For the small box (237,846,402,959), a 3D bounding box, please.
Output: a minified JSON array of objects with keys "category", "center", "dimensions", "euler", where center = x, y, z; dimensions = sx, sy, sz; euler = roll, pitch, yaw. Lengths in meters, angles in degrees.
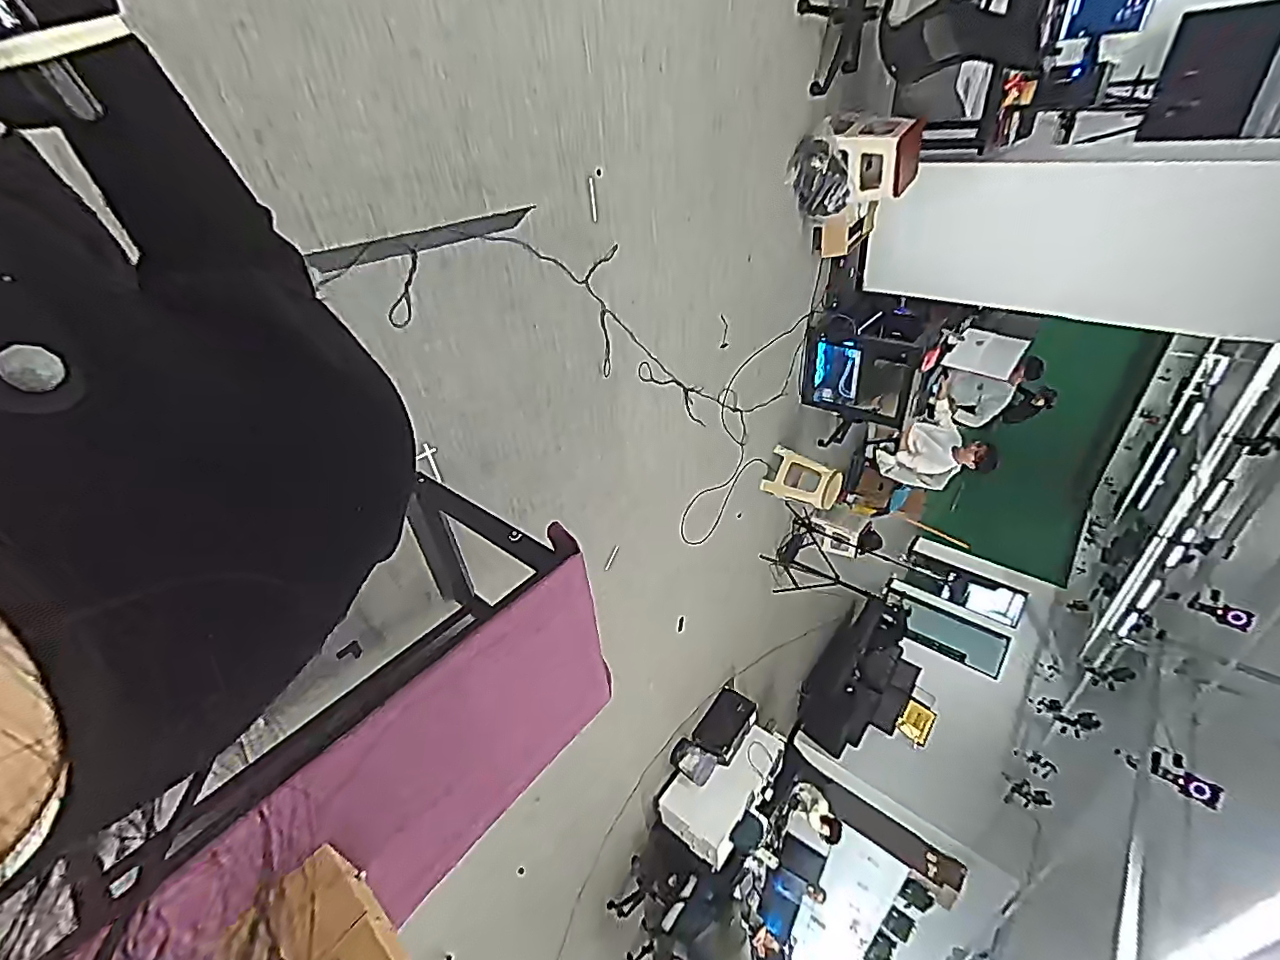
[{"category":"small box","center":[-0.561,0.799,0.944],"dimensions":[0.179,0.176,0.168],"euler":[-39,138,-36]}]
